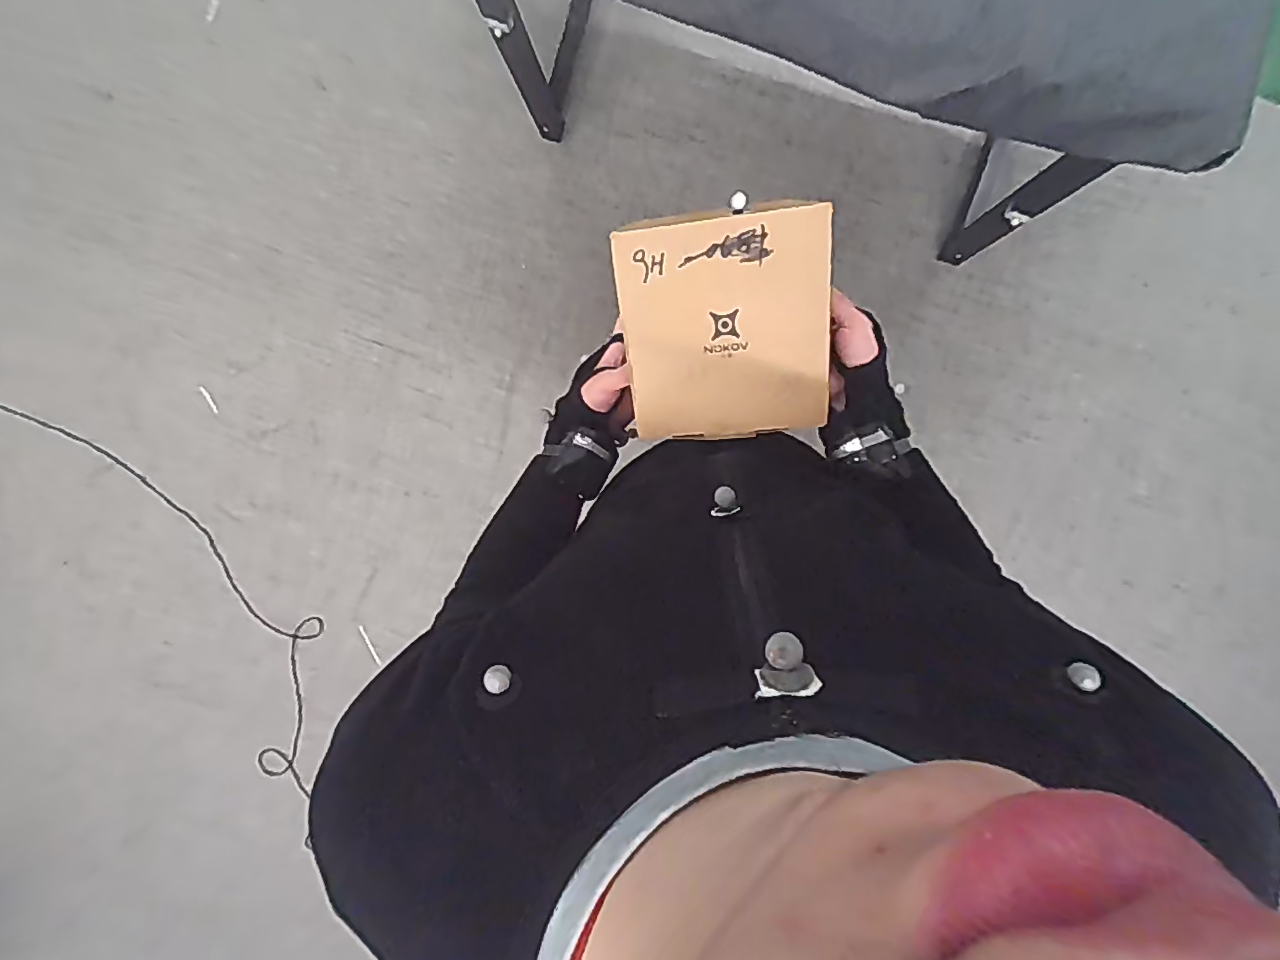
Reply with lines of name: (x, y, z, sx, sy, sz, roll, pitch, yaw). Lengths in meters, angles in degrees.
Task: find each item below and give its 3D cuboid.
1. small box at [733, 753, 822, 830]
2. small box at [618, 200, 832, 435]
small box: (0.391, 0.936, 1.566, 0.179, 0.176, 0.168, 32, 95, 1)
small box: (0.079, -0.160, 0.520, 0.168, 0.176, 0.179, -4, 119, 8)
